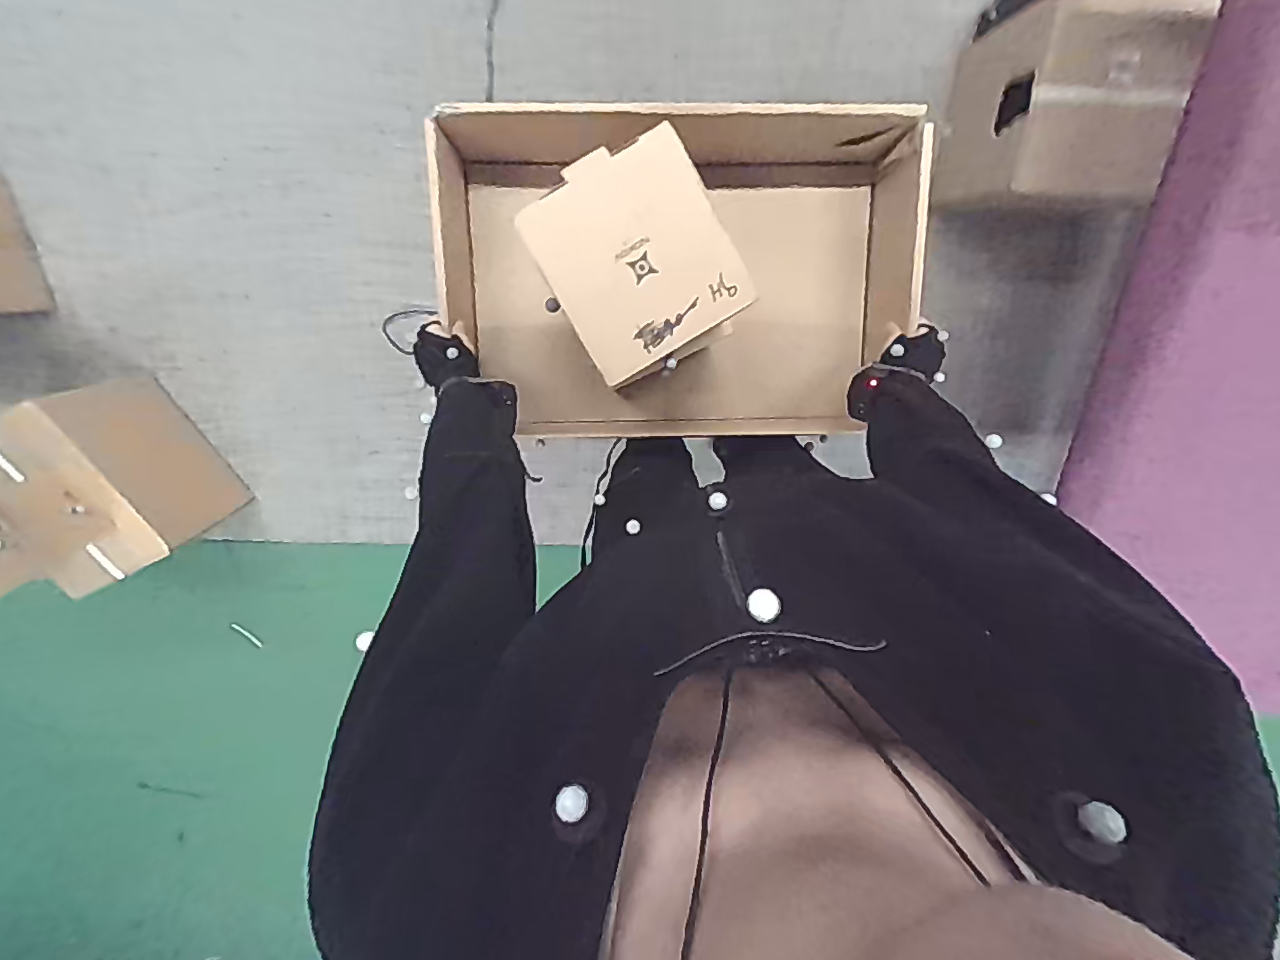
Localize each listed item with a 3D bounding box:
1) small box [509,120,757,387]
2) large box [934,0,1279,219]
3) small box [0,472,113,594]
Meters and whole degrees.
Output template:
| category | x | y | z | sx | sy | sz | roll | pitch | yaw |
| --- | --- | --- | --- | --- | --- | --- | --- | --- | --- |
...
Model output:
| category | x | y | z | sx | sy | sz | roll | pitch | yaw |
| --- | --- | --- | --- | --- | --- | --- | --- | --- | --- |
| small box | -0.008 | -0.209 | 0.557 | 0.168 | 0.176 | 0.179 | -30 | 98 | 2 |
| large box | 0.898 | -0.711 | 1.096 | 0.408 | 0.320 | 0.320 | 2 | 110 | 0 |
| small box | -1.286 | 0.110 | 1.130 | 0.179 | 0.176 | 0.168 | -29 | 109 | 9 |
